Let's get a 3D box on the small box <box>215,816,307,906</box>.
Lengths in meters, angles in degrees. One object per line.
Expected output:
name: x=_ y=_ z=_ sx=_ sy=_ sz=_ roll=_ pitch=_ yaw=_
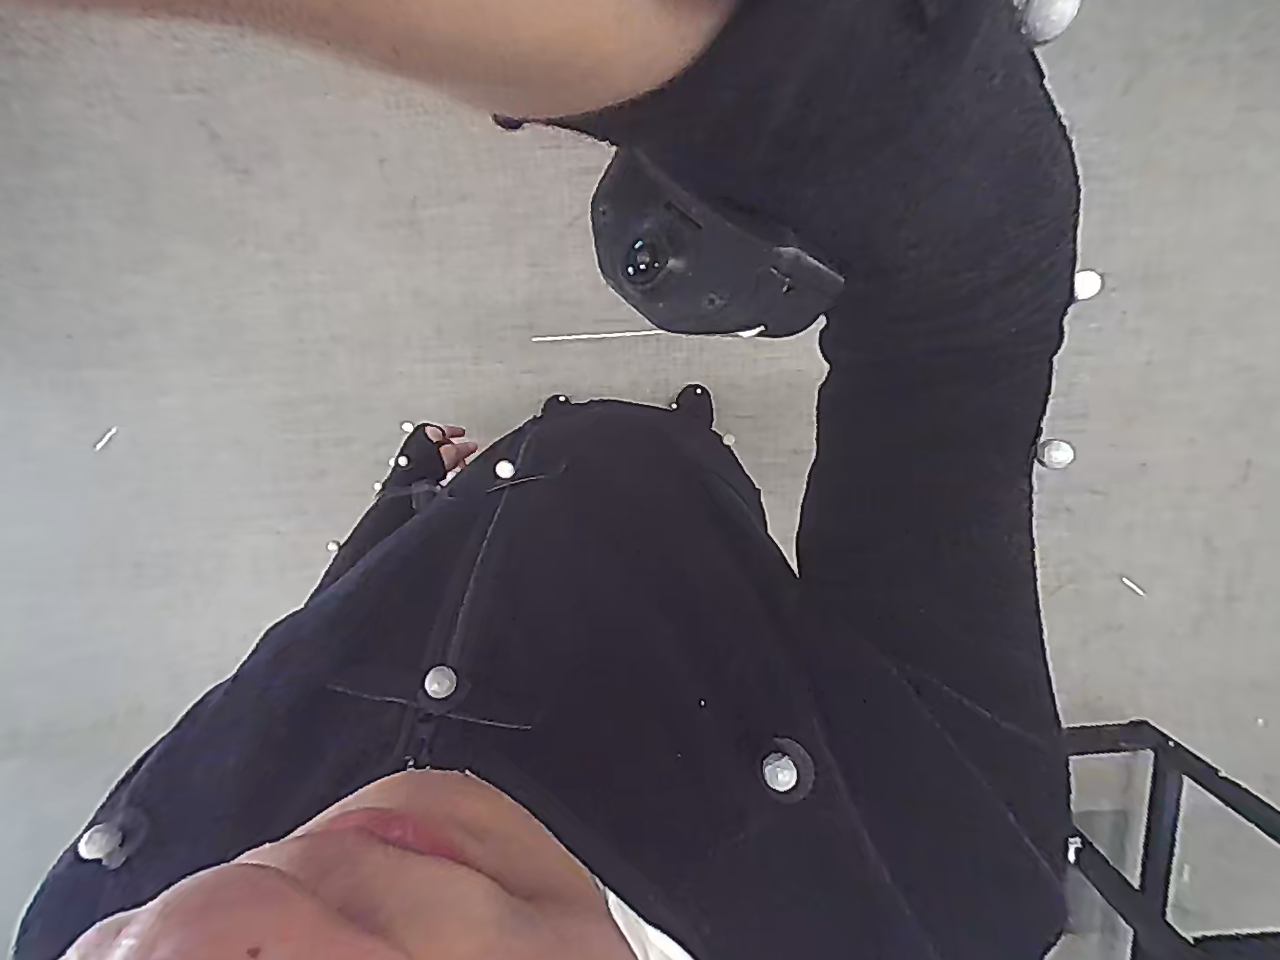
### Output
small box: x=-1.170 y=1.183 z=1.688 sx=0.179 sy=0.176 sz=0.168 roll=0 pitch=100 yaw=0
